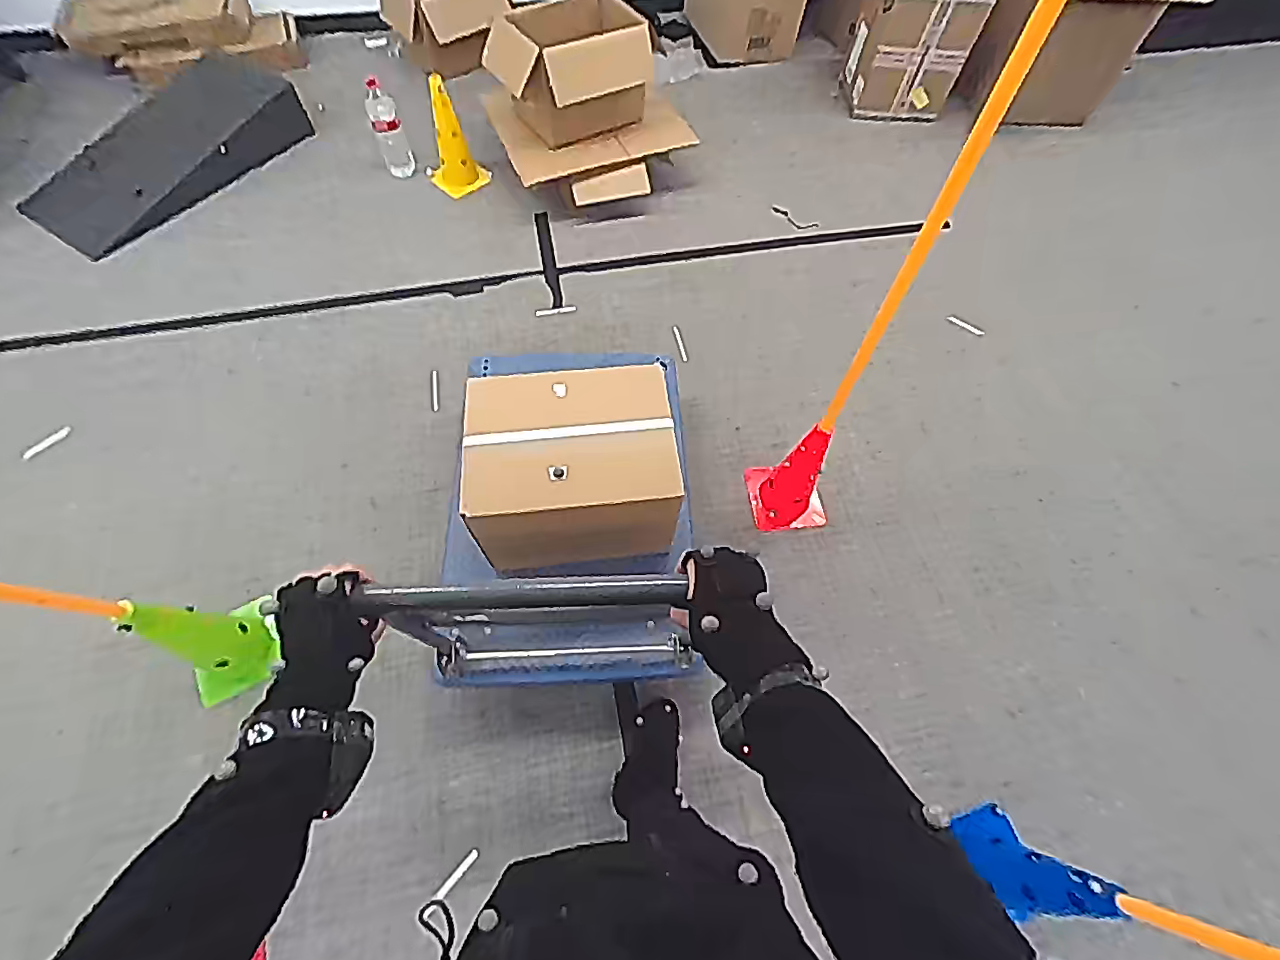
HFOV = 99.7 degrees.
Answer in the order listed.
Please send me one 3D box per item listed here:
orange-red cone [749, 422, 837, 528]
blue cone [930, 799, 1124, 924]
[{"bbox_3d":[0.426,-0.037,1.388,0.199,0.360,0.198,-4,62,-5],"label":"orange-red cone"},{"bbox_3d":[0.739,0.728,1.004,0.193,0.380,0.192,-13,62,-10],"label":"blue cone"}]
